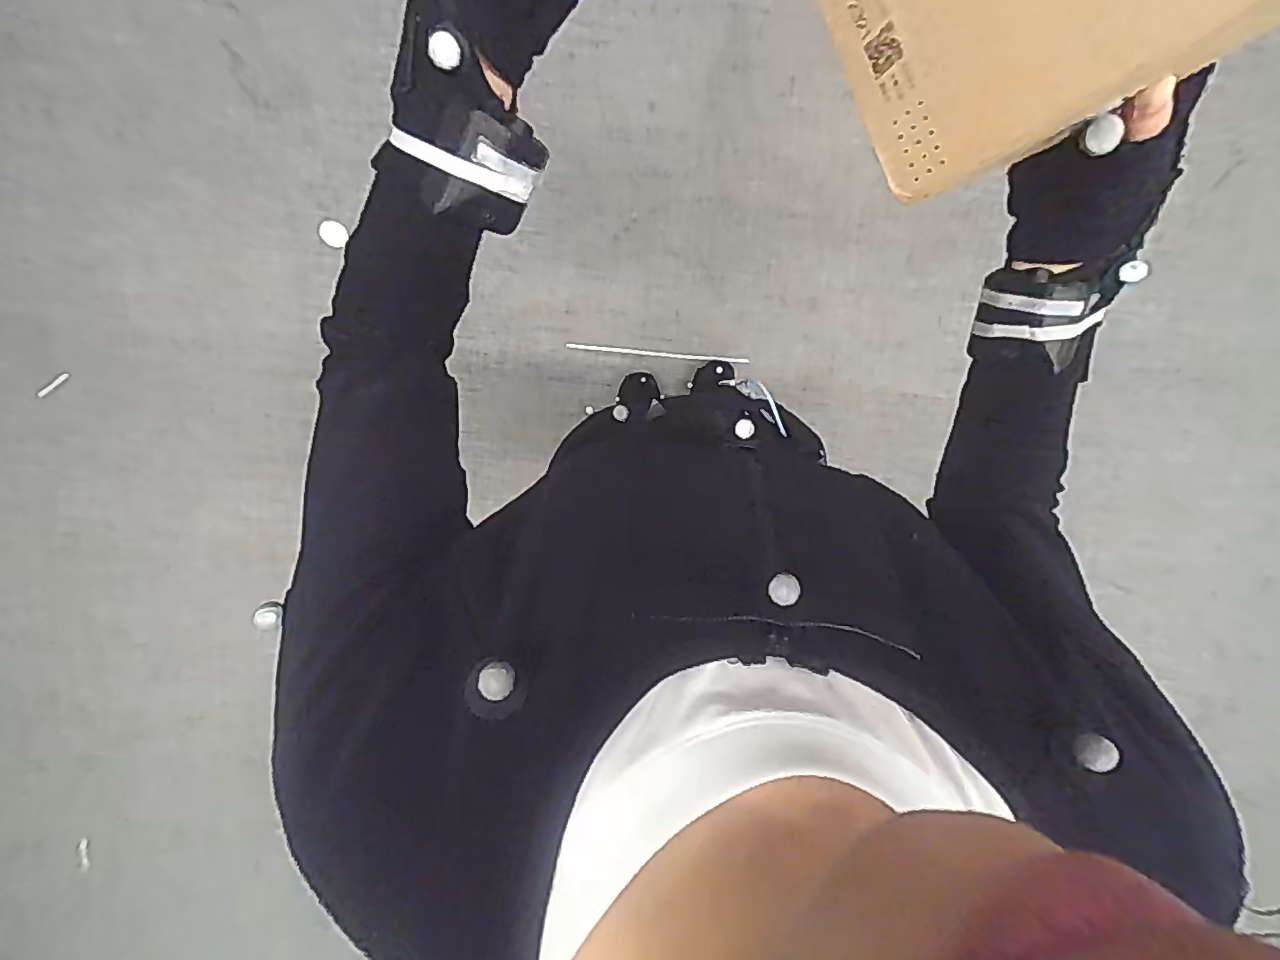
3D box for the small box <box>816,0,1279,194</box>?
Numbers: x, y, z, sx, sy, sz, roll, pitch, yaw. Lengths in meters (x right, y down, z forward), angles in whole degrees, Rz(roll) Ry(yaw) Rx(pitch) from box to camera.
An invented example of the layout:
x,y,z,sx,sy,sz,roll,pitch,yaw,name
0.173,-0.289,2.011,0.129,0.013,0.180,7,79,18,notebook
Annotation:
x,y,z,sx,sy,sz,roll,pitch,yaw,name
0.182,-0.240,0.192,0.179,0.176,0.168,-30,99,-20,small box
